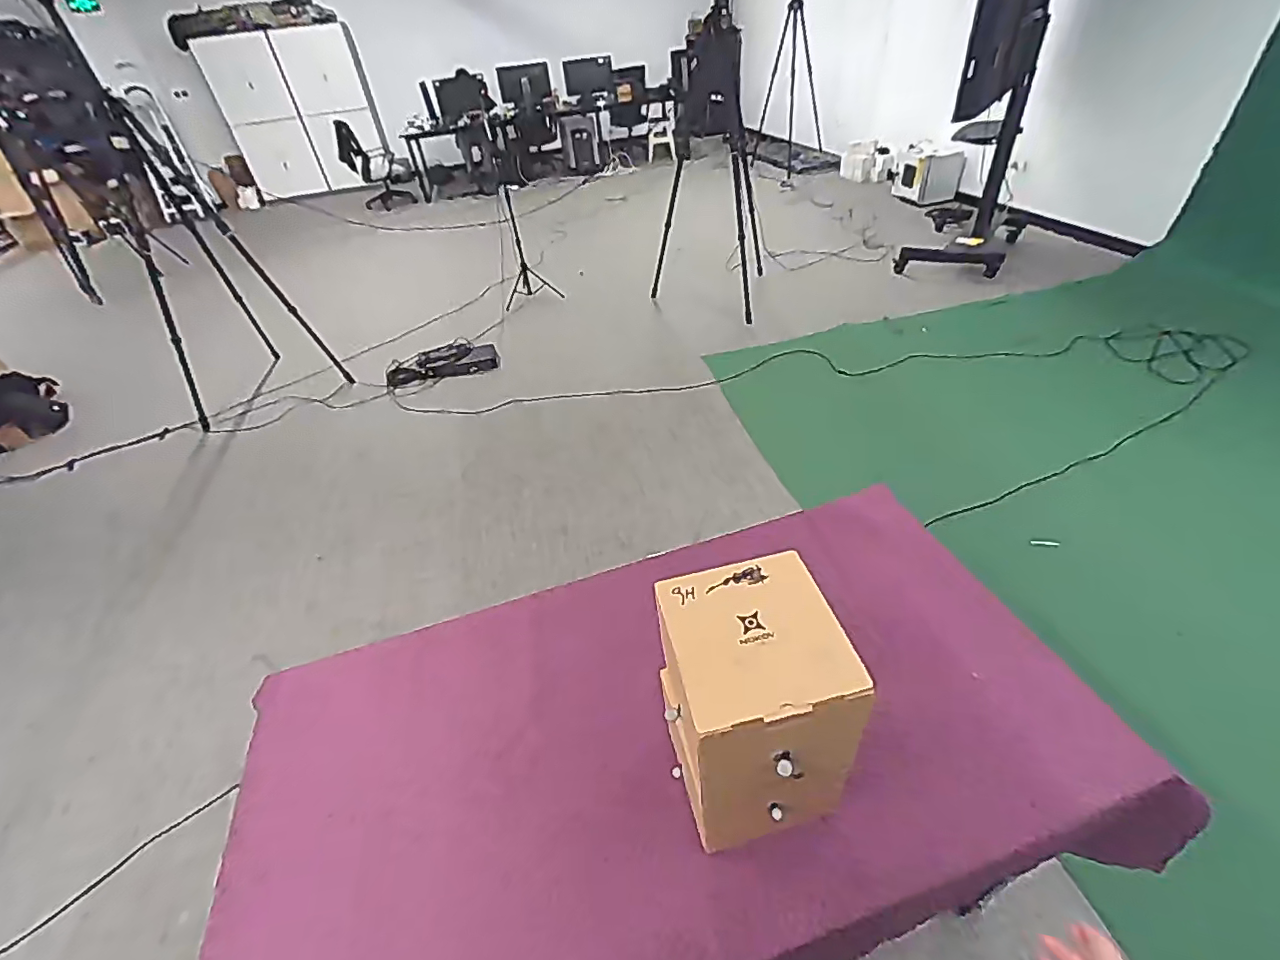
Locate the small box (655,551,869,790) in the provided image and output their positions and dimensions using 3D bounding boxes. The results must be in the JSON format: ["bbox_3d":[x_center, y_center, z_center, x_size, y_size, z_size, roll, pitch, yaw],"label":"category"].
[{"bbox_3d":[0.120,0.210,0.587,0.168,0.176,0.179,-12,41,-4],"label":"small box"}]
